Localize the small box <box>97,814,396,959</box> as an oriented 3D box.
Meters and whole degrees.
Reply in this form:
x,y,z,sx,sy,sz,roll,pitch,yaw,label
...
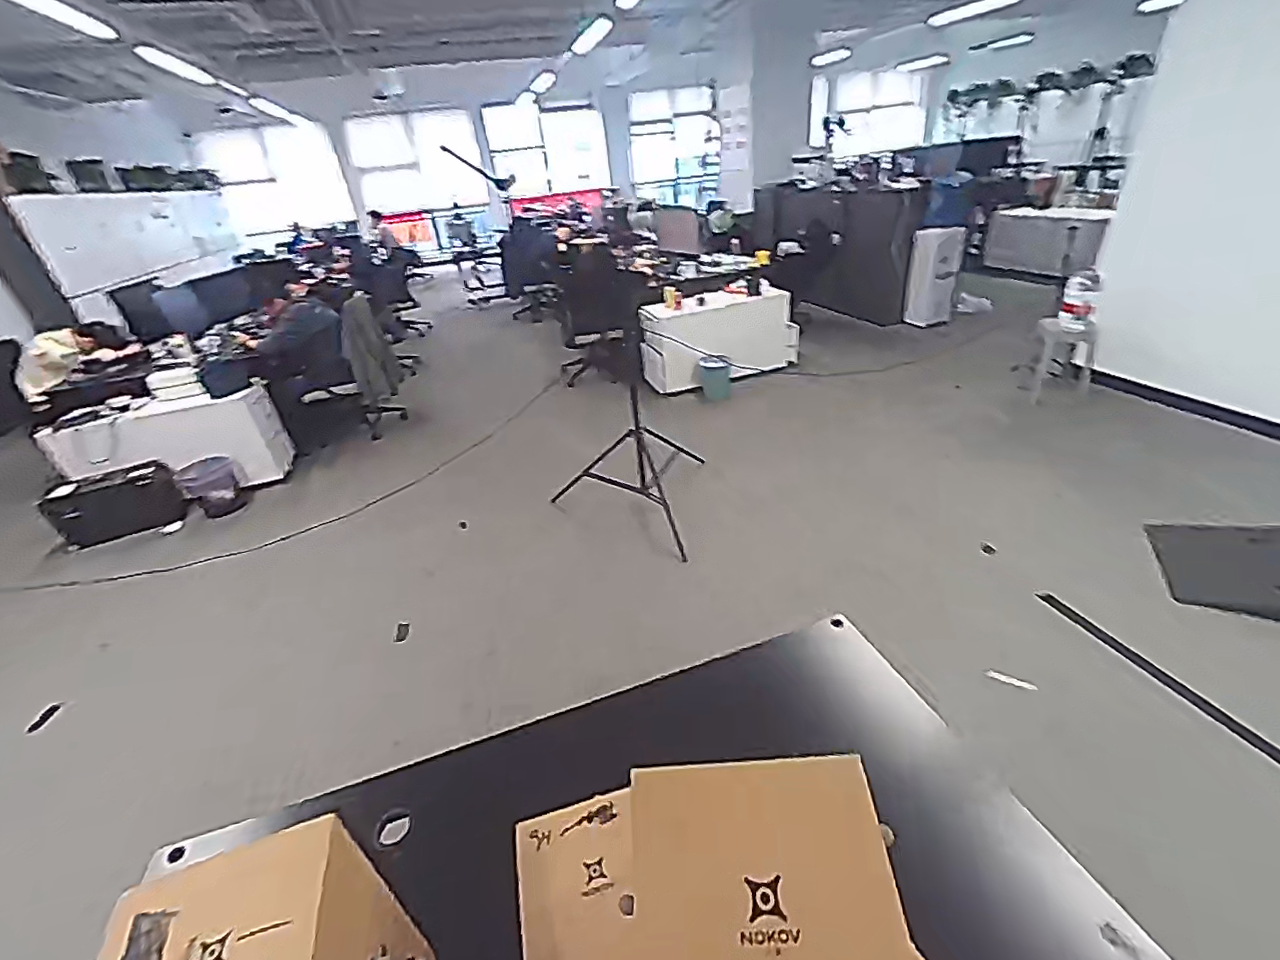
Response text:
x,y,z,sx,sy,sz,roll,pitch,yaw,label
-0.332,0.442,0.464,0.179,0.176,0.168,-15,31,-14,small box

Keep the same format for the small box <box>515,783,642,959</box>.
x,y,z,sx,sy,sz,roll,pitch,yaw,label
-0.040,0.501,0.626,0.168,0.176,0.179,-13,31,-10,small box

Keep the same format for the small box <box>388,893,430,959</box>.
x,y,z,sx,sy,sz,roll,pitch,yaw,label
-0.315,0.582,0.548,0.168,0.176,0.179,-16,32,-13,small box

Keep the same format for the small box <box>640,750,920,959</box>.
x,y,z,sx,sy,sz,roll,pitch,yaw,label
0.090,0.317,0.395,0.168,0.176,0.179,-6,49,4,small box
